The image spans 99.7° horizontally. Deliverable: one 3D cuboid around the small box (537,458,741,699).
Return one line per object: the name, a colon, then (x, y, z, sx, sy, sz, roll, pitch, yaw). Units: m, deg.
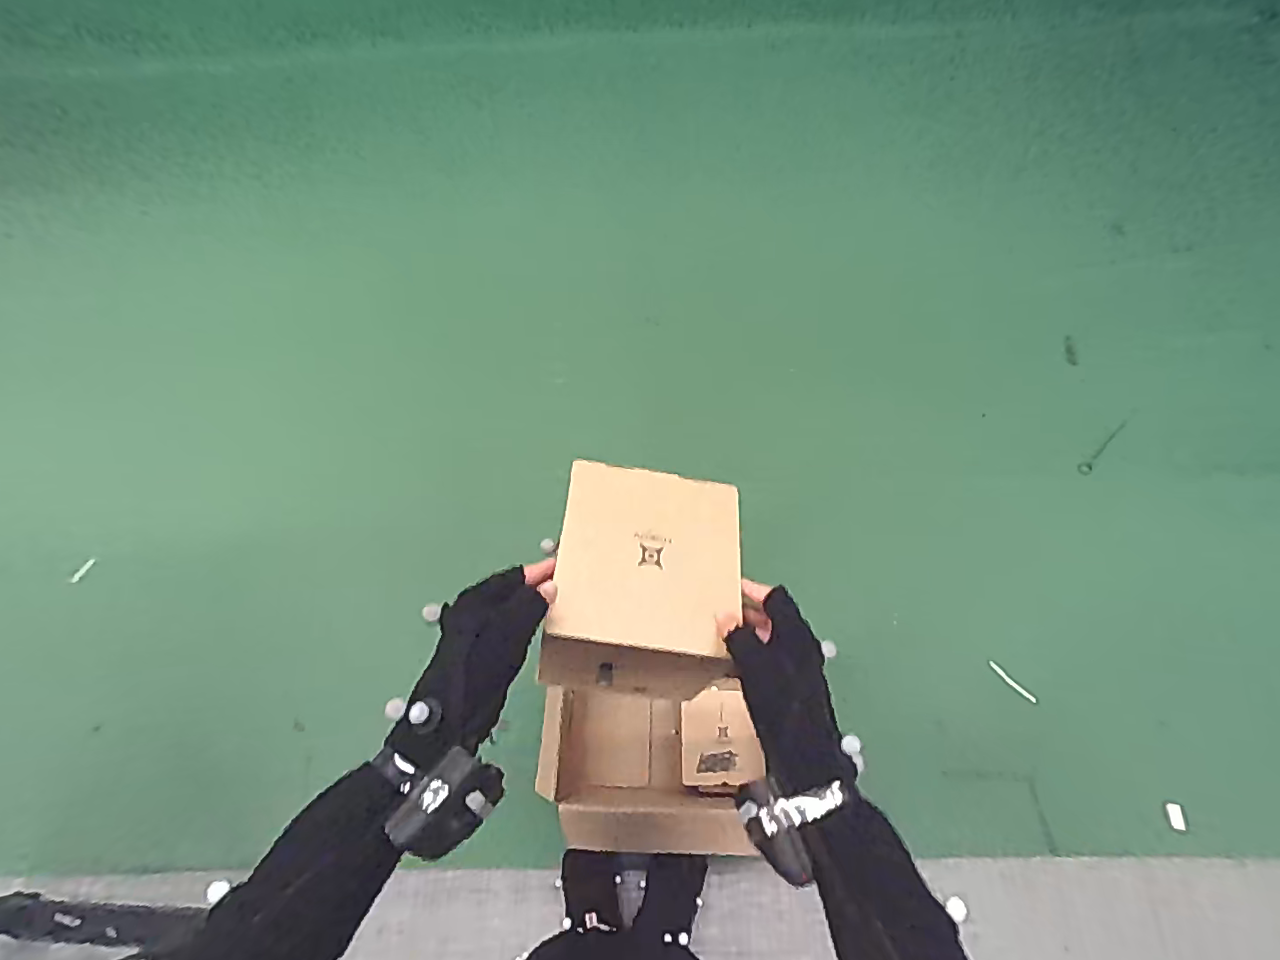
small box: (-0.006, 0.106, 0.537, 0.168, 0.176, 0.179, 9, 54, -6)
